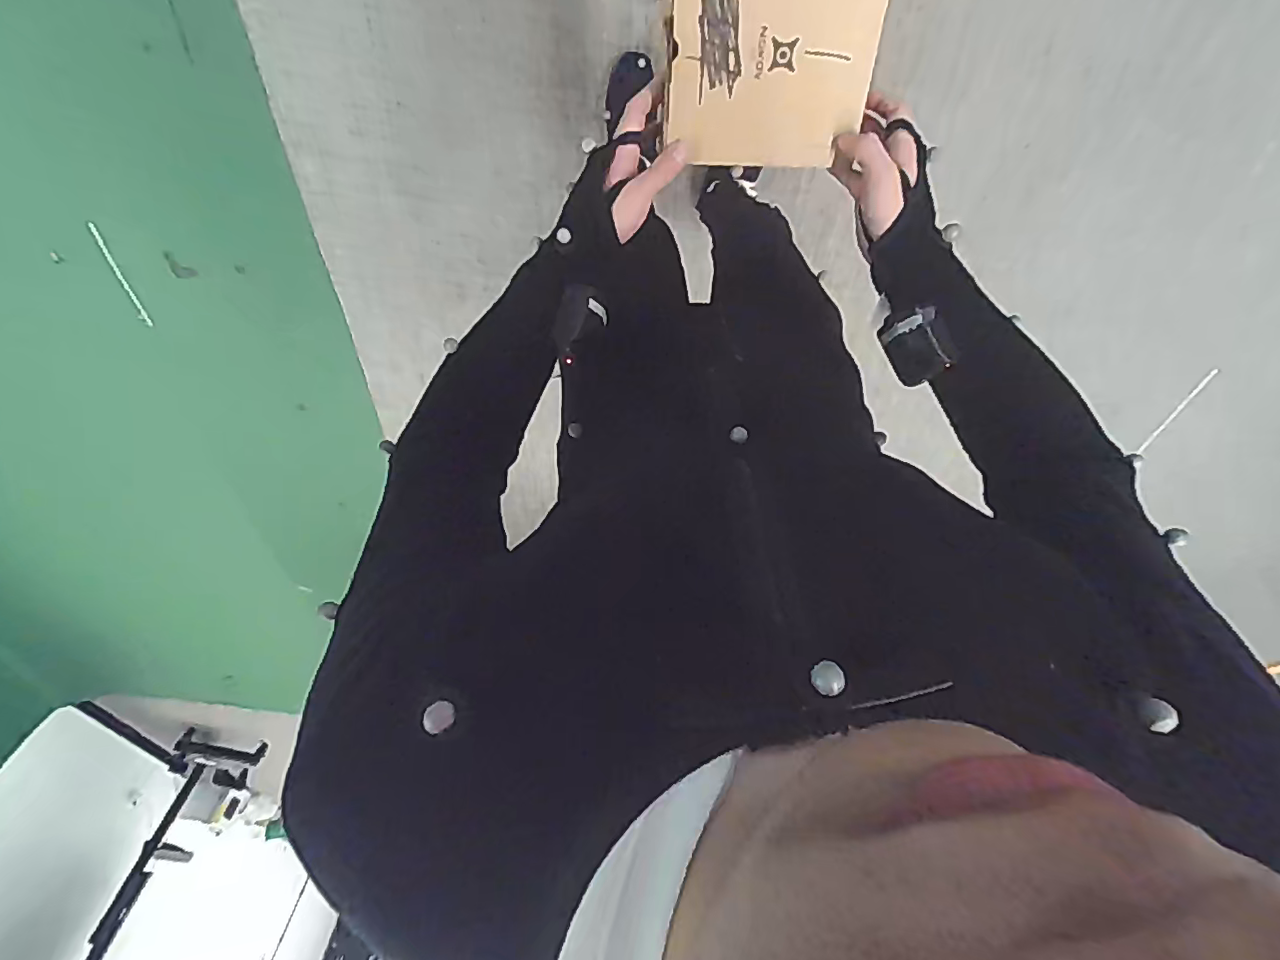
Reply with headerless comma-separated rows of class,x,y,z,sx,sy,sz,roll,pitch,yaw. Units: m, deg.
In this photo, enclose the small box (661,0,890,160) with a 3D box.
small box,0.112,-0.409,0.512,0.179,0.176,0.168,0,127,-2
